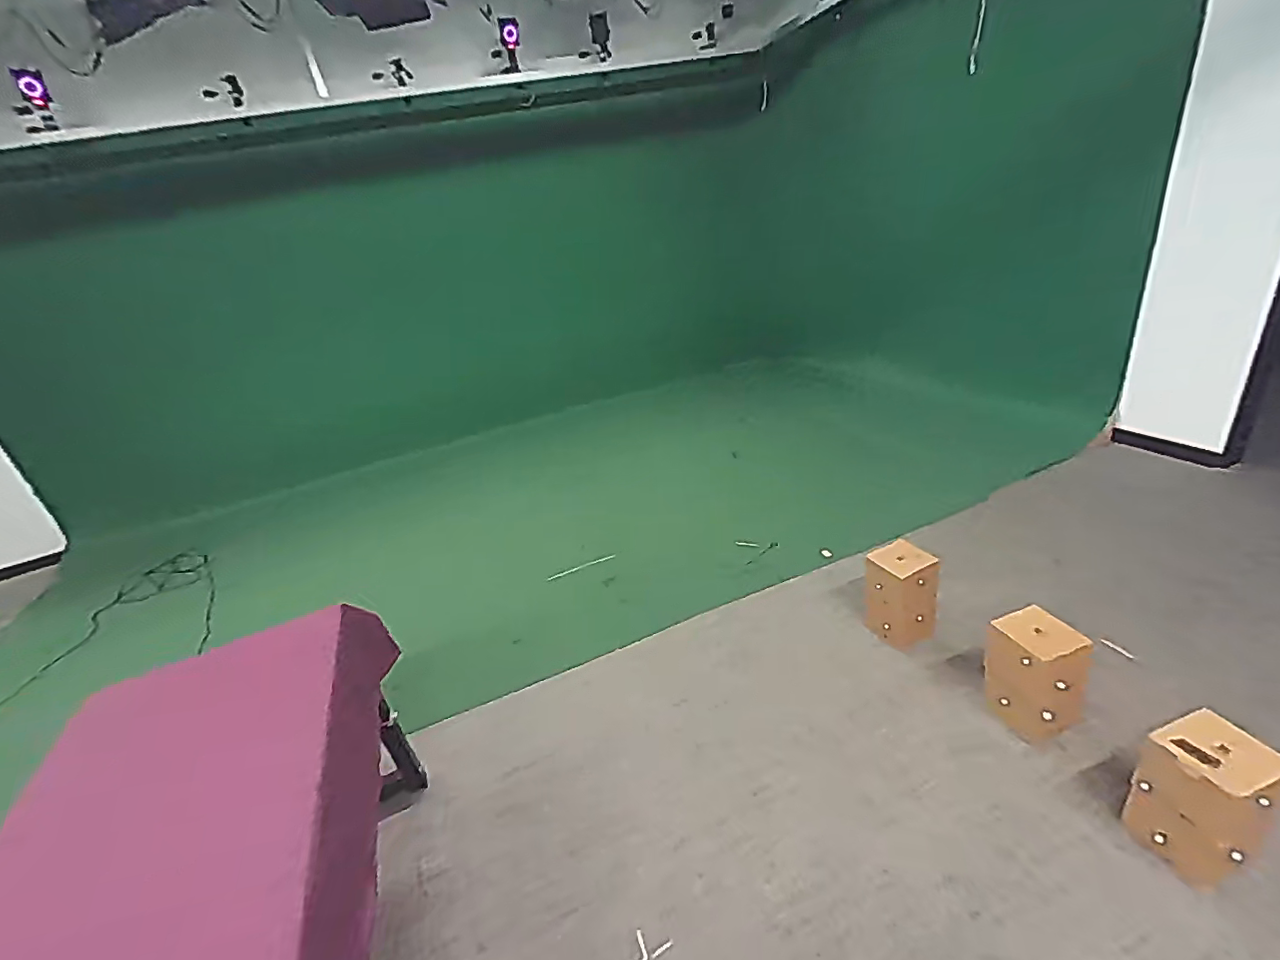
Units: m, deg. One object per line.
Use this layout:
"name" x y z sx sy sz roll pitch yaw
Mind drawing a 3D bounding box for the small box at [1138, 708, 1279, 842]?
"small box" 1.247 0.645 1.183 0.179 0.176 0.168 -16 26 -11

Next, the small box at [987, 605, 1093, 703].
"small box" 1.126 0.494 1.539 0.168 0.176 0.179 -16 26 -10

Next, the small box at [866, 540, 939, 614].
"small box" 0.929 0.345 1.919 0.179 0.176 0.168 -20 28 -16

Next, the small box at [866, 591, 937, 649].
"small box" 0.962 0.490 1.991 0.179 0.176 0.168 -19 27 -15

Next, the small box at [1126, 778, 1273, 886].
"small box" 1.282 0.789 1.255 0.179 0.176 0.168 -18 27 -11
